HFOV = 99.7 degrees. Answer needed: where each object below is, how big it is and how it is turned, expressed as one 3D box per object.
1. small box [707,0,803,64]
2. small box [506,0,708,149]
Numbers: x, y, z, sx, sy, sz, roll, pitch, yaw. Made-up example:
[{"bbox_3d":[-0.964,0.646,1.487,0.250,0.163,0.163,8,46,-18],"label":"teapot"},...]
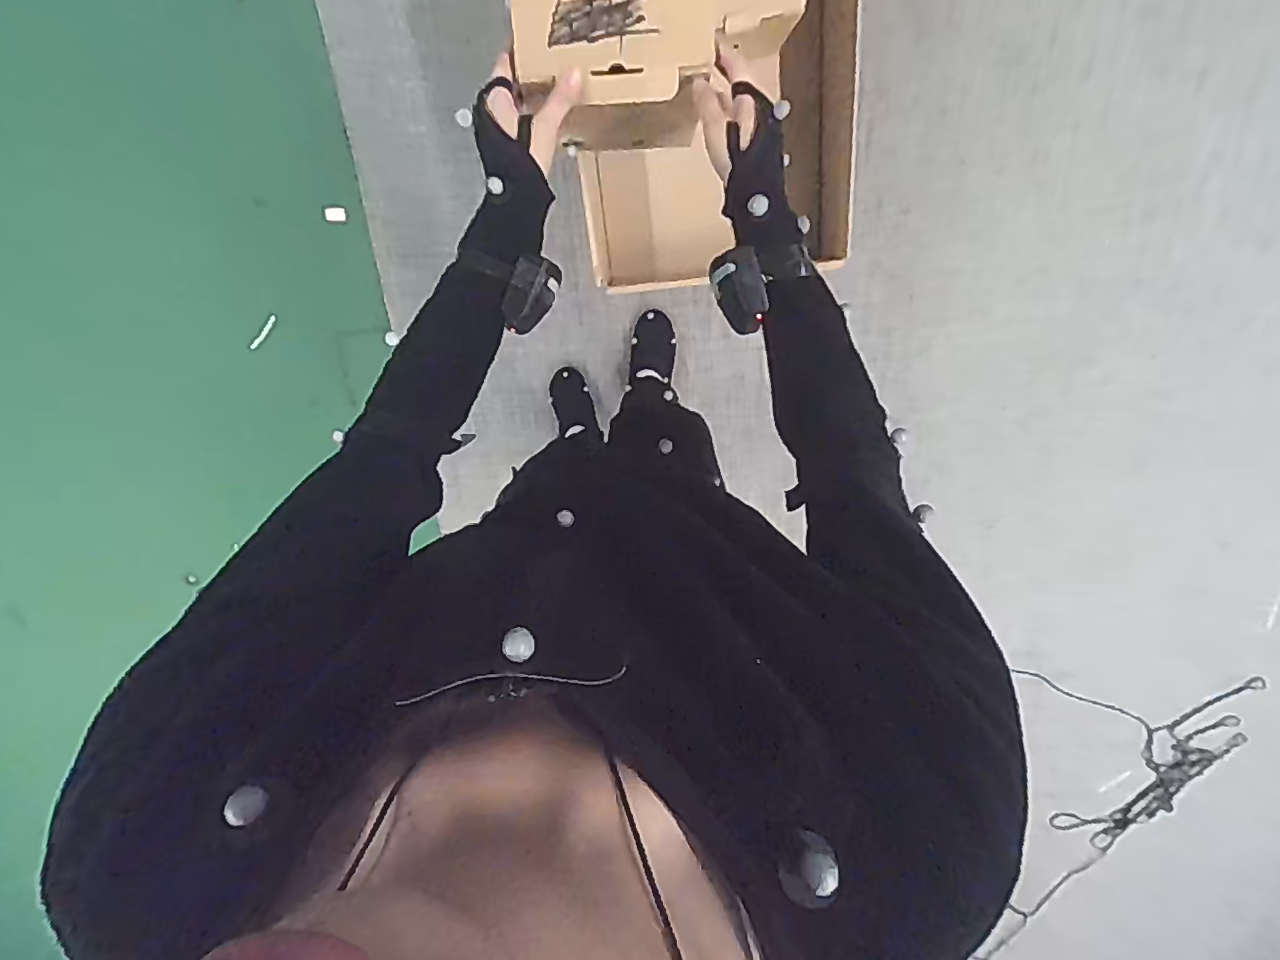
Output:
[{"bbox_3d":[0.118,-0.695,0.739,0.168,0.176,0.179,-9,114,4],"label":"small box"},{"bbox_3d":[-0.028,-0.430,0.504,0.168,0.176,0.179,-2,101,-2],"label":"small box"}]
